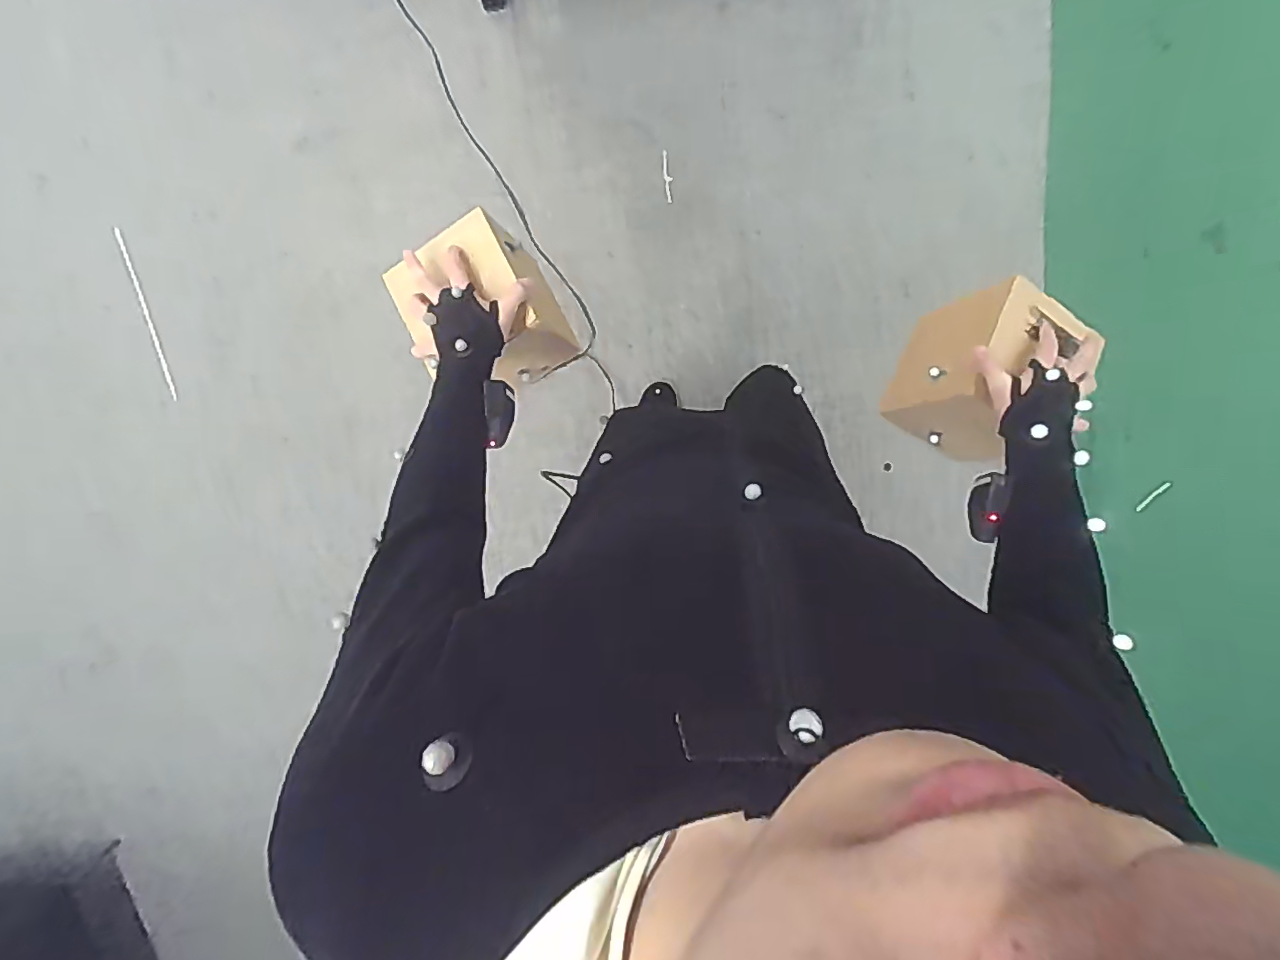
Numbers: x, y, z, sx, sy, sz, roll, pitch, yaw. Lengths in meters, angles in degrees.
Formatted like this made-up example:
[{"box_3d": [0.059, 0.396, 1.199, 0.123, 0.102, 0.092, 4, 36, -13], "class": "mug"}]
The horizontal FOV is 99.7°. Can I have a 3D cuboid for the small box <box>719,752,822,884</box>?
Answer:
[{"box_3d": [0.281, 0.736, 1.200, 0.168, 0.176, 0.179, -18, 103, 6], "class": "small box"}]

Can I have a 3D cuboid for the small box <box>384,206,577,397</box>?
[{"box_3d": [-0.218, -0.240, 0.777, 0.168, 0.176, 0.179, -29, 84, 12], "class": "small box"}]
